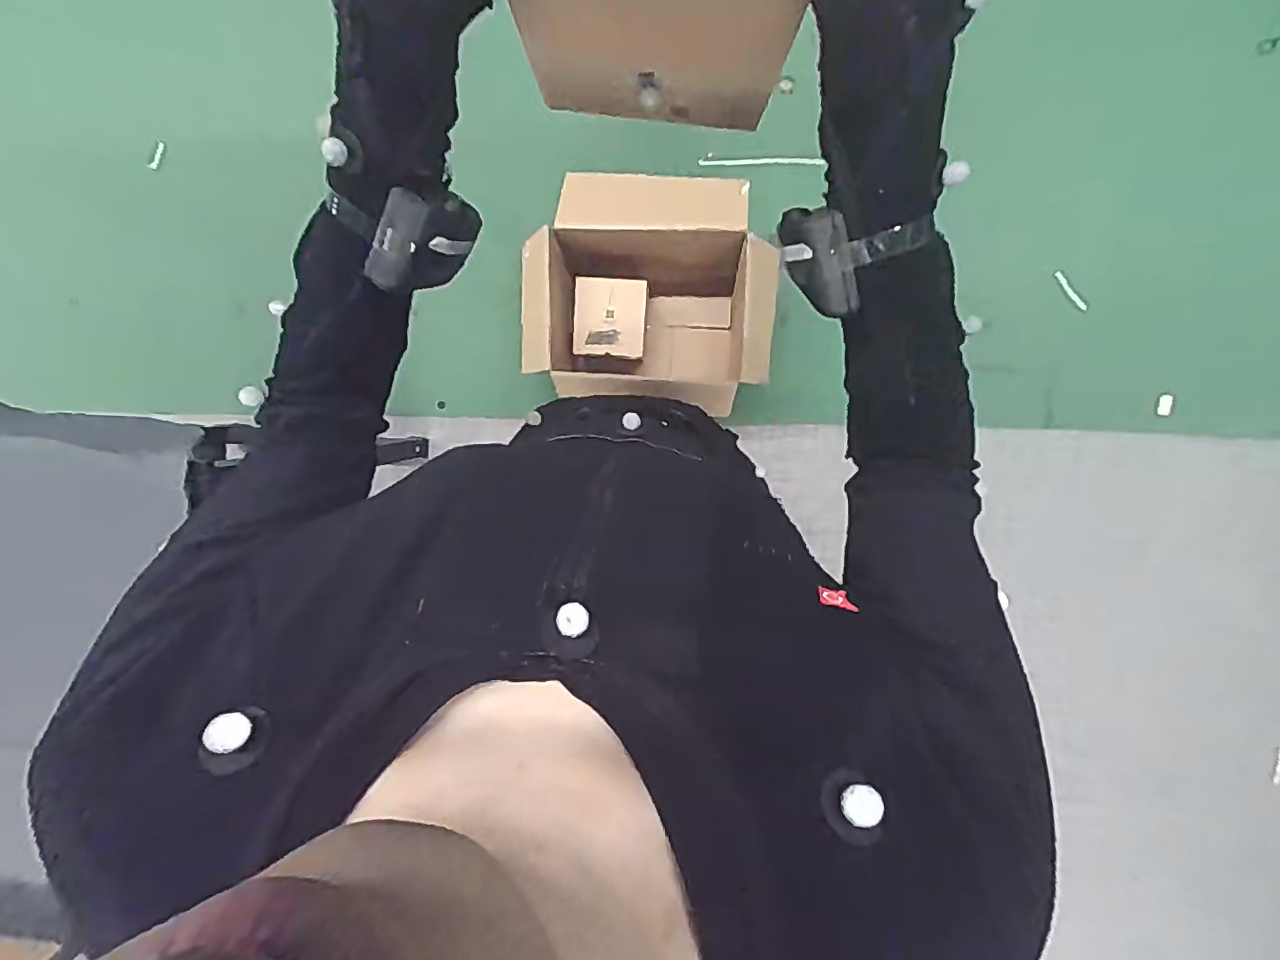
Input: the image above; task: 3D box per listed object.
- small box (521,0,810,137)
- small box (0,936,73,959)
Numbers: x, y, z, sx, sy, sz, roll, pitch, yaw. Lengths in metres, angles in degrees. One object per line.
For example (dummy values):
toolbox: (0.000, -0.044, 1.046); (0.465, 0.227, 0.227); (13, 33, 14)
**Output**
small box: (0.016, -0.348, 0.327); (0.168, 0.176, 0.179); (6, 99, 0)
small box: (-1.067, 0.871, 0.854); (0.179, 0.176, 0.168); (5, 98, 3)
